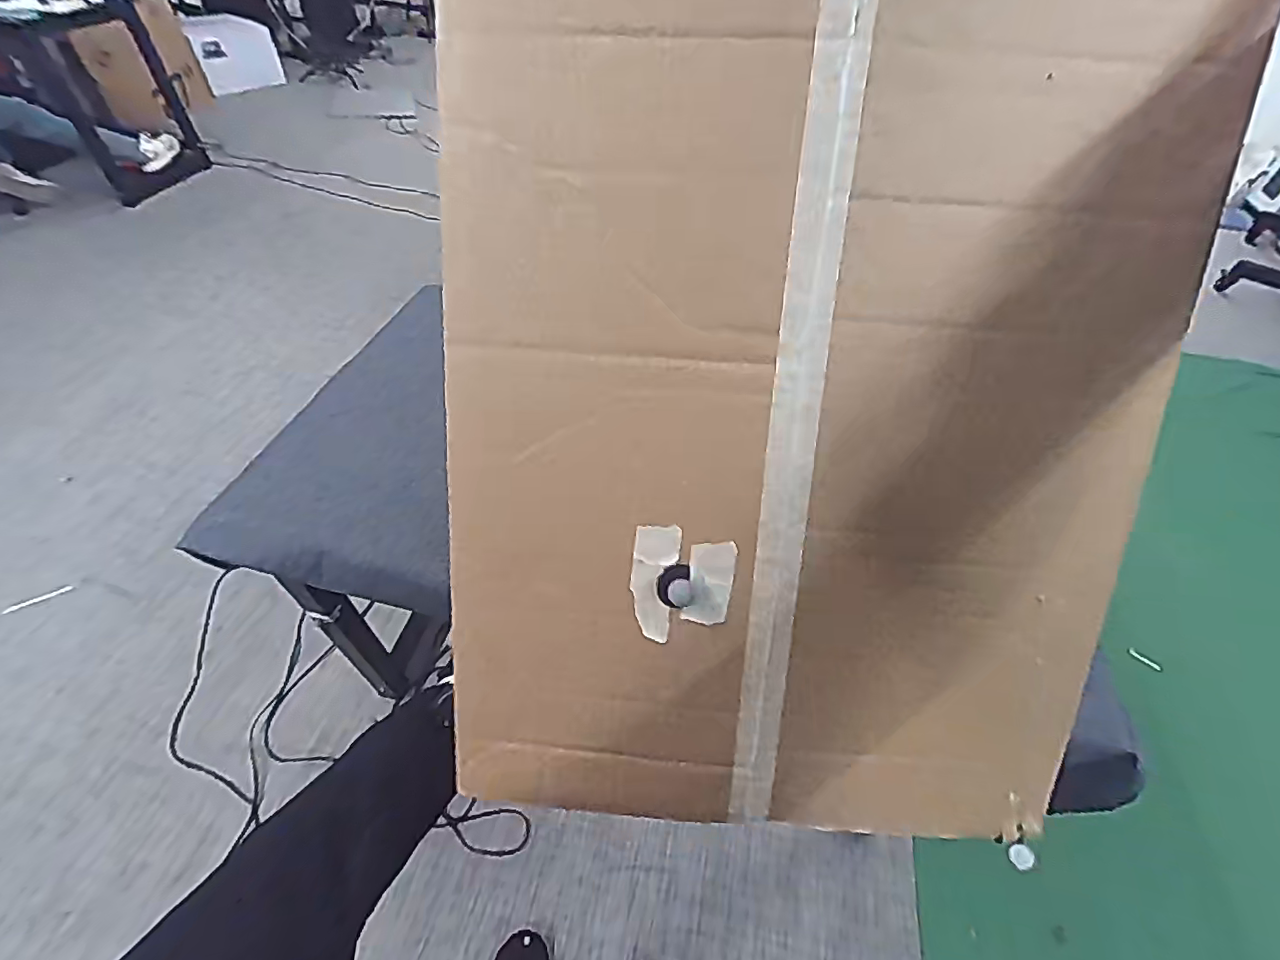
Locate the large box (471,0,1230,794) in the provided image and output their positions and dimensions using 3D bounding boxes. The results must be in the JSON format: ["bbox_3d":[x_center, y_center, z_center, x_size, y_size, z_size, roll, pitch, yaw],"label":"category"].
[{"bbox_3d":[0.082,-0.054,0.409,0.320,0.408,0.320,3,15,1],"label":"large box"}]
